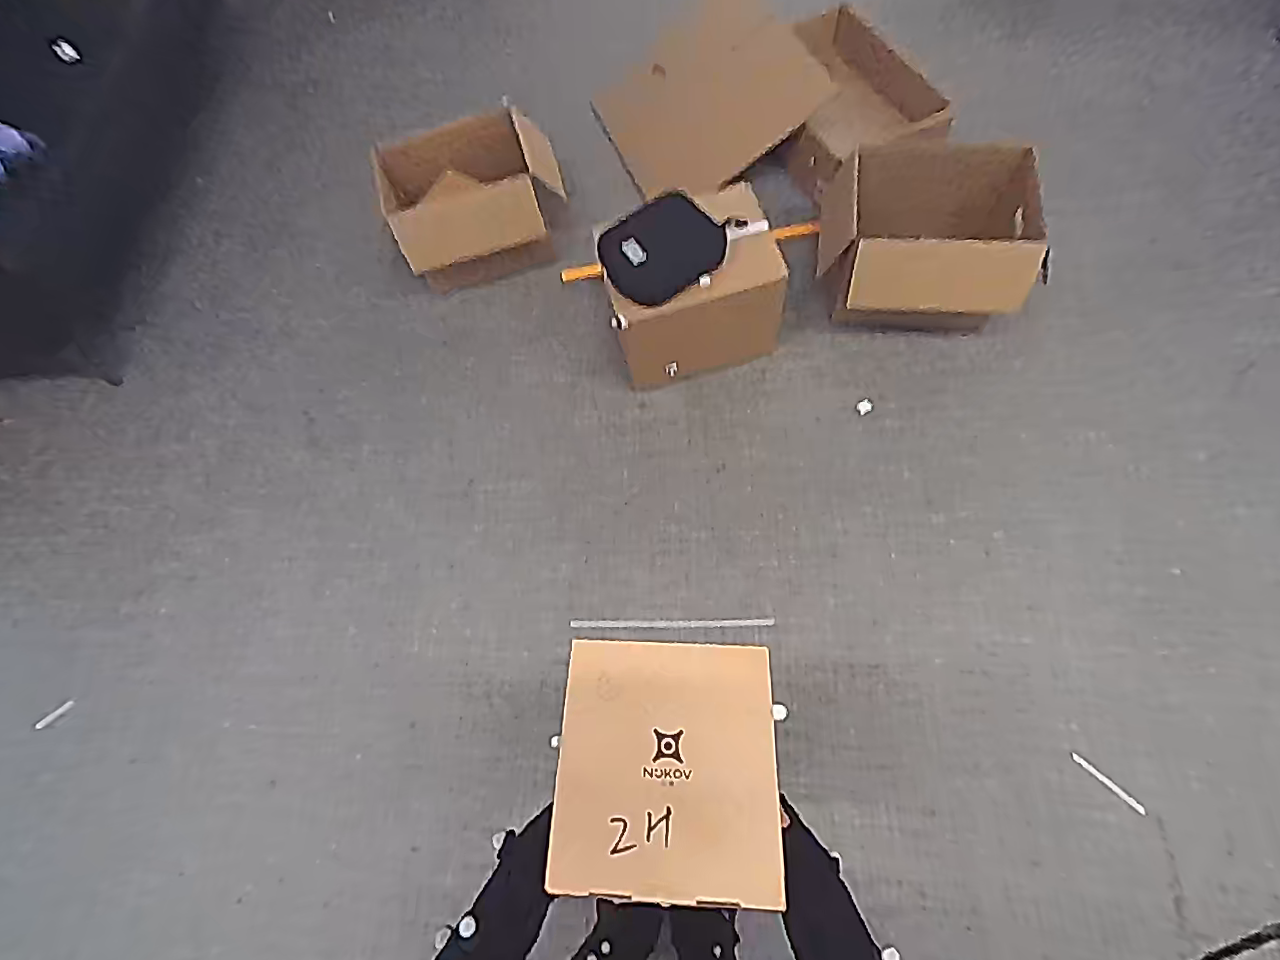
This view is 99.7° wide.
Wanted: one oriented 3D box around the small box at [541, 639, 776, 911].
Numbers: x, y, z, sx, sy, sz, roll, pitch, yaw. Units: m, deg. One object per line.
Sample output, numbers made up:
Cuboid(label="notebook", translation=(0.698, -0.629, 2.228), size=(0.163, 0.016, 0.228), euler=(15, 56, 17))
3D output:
Cuboid(label="small box", translation=(0.020, 0.255, 0.481), size=(0.168, 0.176, 0.179), euler=(1, 59, 5))
